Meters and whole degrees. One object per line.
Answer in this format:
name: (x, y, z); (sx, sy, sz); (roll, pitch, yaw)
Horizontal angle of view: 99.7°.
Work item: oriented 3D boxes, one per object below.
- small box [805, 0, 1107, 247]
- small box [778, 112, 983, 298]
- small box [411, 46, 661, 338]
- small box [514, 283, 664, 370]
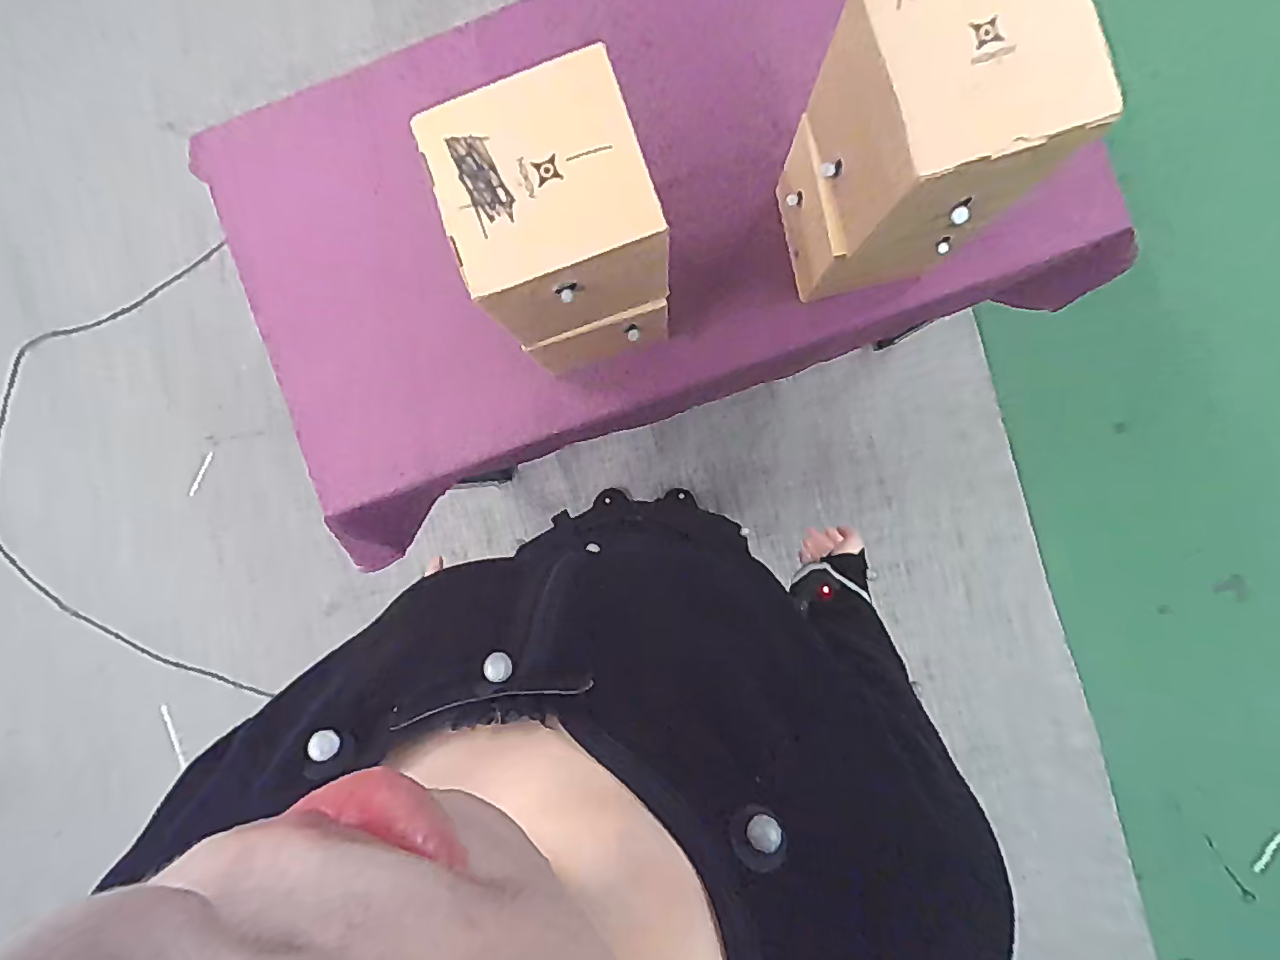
small box: (0.274, -0.344, 0.511); (0.168, 0.176, 0.179); (-16, 91, 3)
small box: (0.280, -0.346, 0.675); (0.179, 0.176, 0.168); (-12, 90, 3)
small box: (-0.084, -0.257, 0.531); (0.179, 0.176, 0.168); (-19, 90, 3)
small box: (-0.073, -0.253, 0.695); (0.179, 0.176, 0.168); (-16, 89, 4)
